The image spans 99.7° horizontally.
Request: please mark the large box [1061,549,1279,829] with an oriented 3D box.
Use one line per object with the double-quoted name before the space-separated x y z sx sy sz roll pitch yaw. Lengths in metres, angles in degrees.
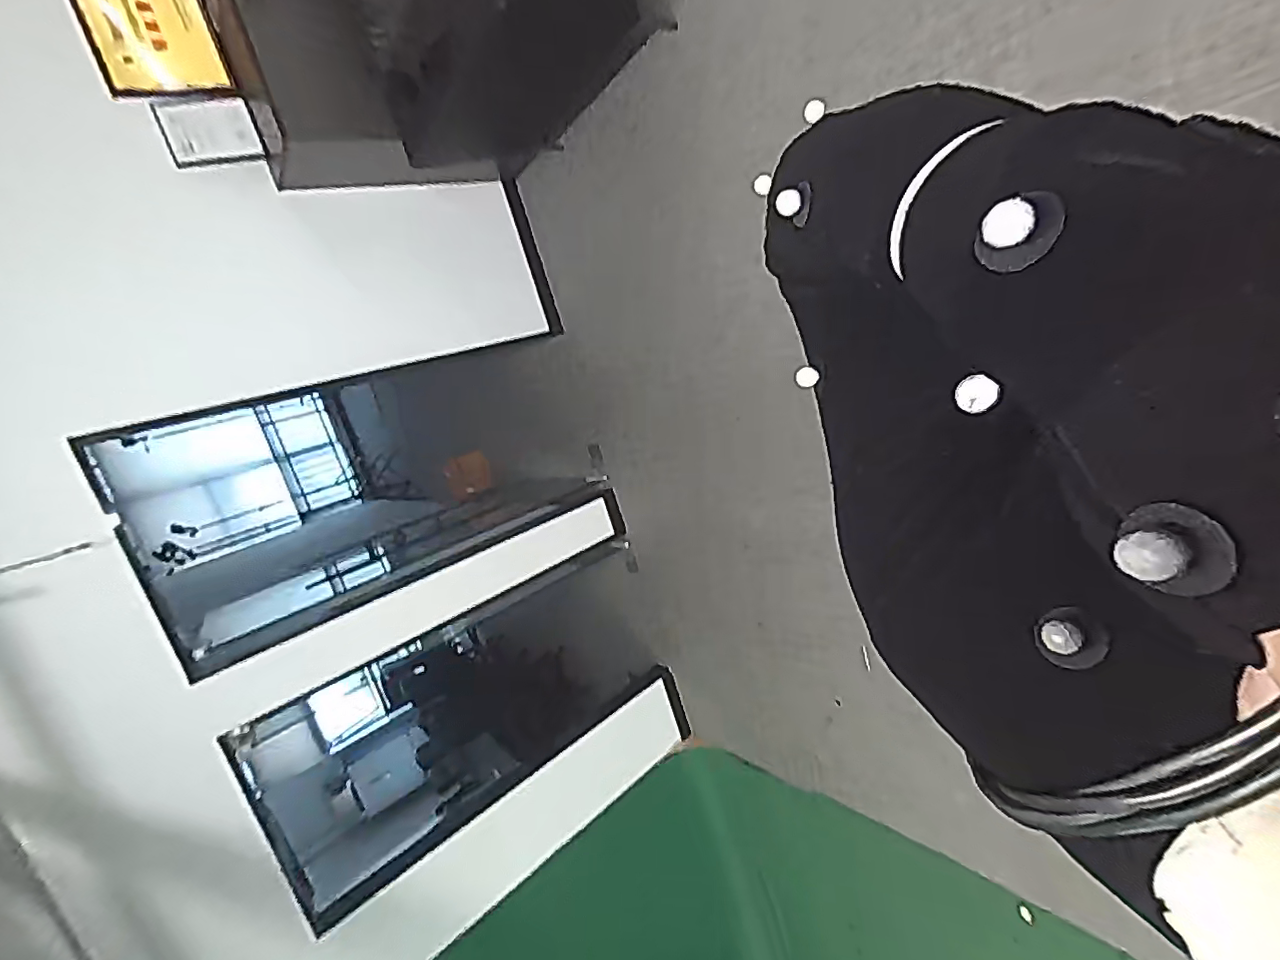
"large box" 1.108 0.379 1.081 0.320 0.320 0.408 -6 105 54
